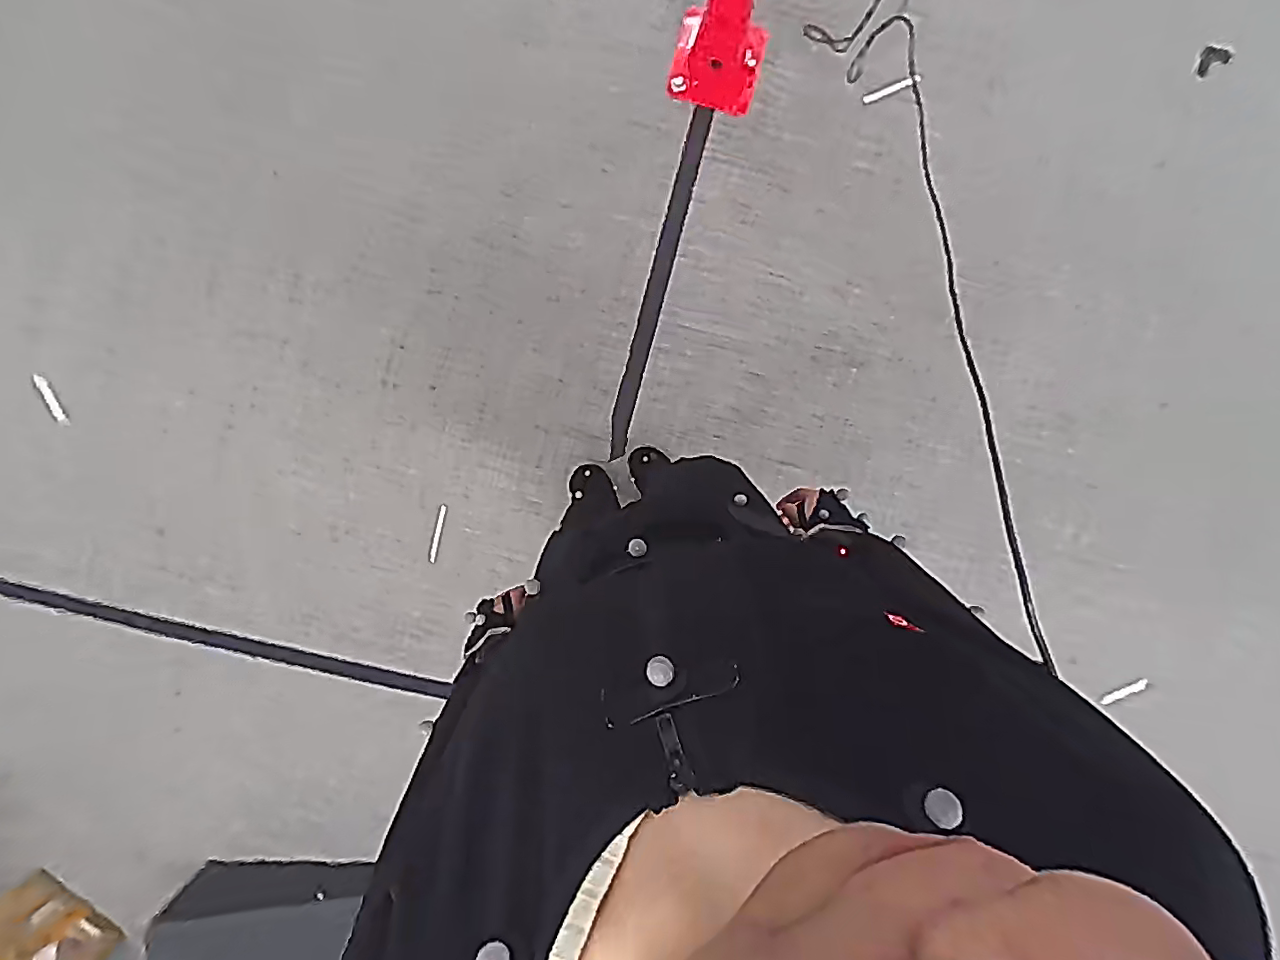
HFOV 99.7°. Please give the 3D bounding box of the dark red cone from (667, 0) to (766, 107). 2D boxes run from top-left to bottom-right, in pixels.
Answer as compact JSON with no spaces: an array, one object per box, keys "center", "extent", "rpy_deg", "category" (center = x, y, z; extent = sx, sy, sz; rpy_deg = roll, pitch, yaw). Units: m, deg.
[{"center":[0.178,-0.955,1.067],"extent":[0.201,0.394,0.202],"rpy_deg":[14,96,-3],"category":"dark red cone"}]
